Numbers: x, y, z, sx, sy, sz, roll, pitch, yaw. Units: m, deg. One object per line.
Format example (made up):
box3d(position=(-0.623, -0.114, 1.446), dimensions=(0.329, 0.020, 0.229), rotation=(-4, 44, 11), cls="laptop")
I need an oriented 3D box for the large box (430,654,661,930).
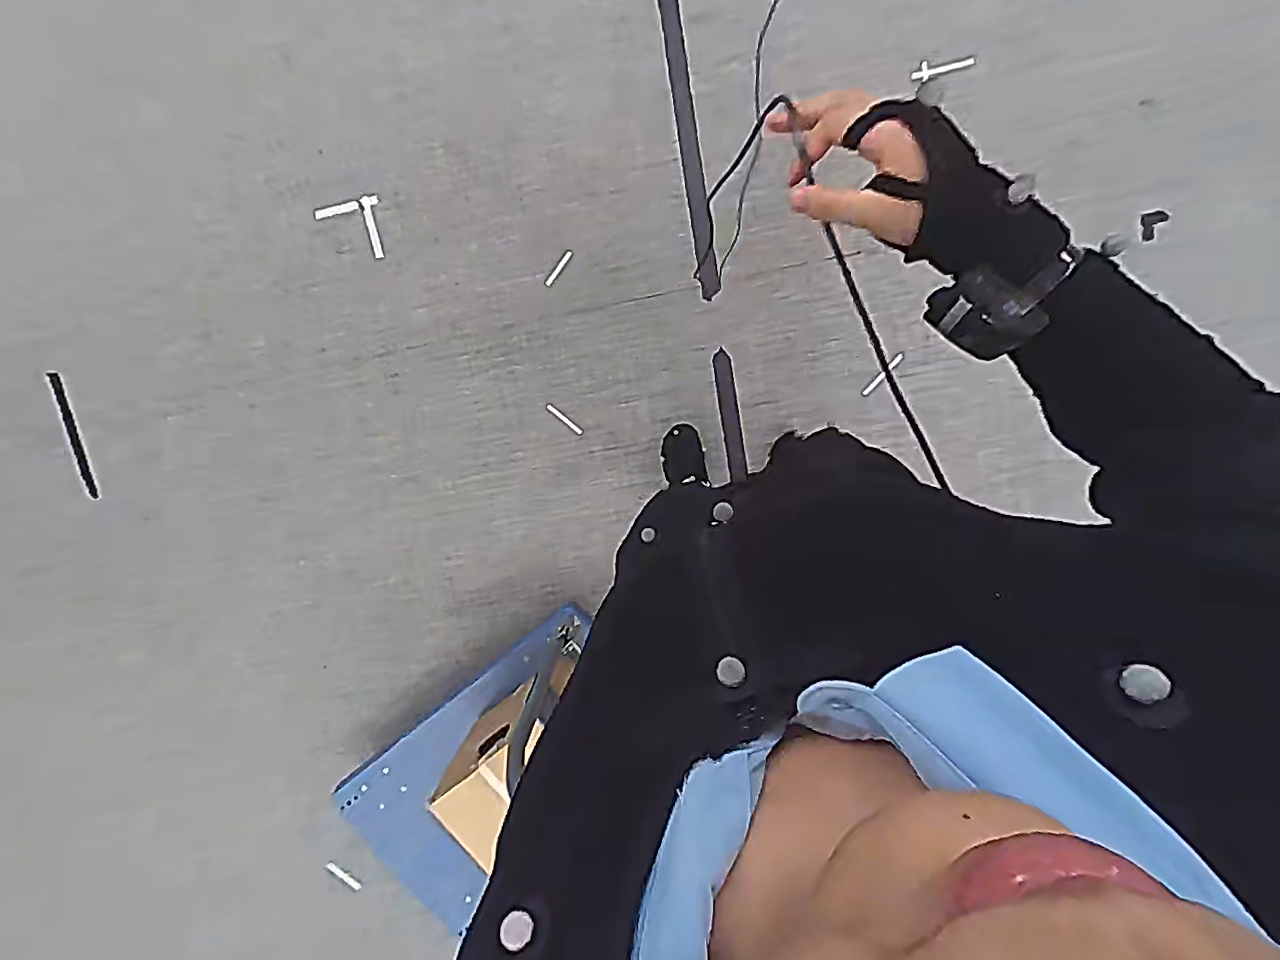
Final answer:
box3d(position=(-0.191, 0.704, 1.272), dimensions=(0.320, 0.320, 0.408), rotation=(-39, 94, 5), cls="large box")
